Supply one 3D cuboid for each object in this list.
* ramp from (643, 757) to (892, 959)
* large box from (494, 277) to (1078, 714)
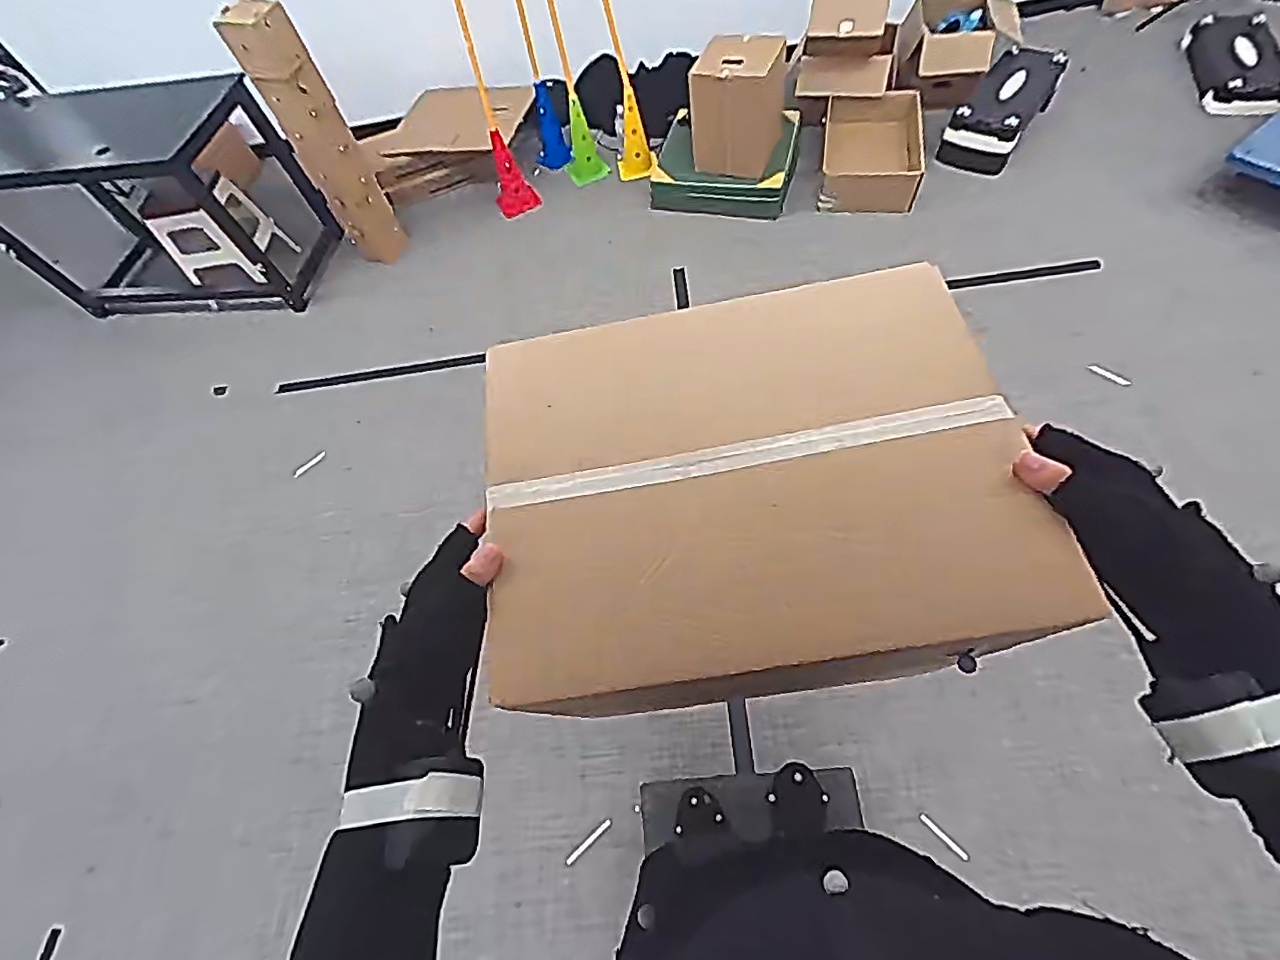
[{"bbox_3d":[0.293,1.131,1.099,0.509,0.206,0.991,-8,61,3],"label":"ramp"},{"bbox_3d":[0.100,0.051,0.567,0.408,0.320,0.320,-10,64,4],"label":"large box"}]
